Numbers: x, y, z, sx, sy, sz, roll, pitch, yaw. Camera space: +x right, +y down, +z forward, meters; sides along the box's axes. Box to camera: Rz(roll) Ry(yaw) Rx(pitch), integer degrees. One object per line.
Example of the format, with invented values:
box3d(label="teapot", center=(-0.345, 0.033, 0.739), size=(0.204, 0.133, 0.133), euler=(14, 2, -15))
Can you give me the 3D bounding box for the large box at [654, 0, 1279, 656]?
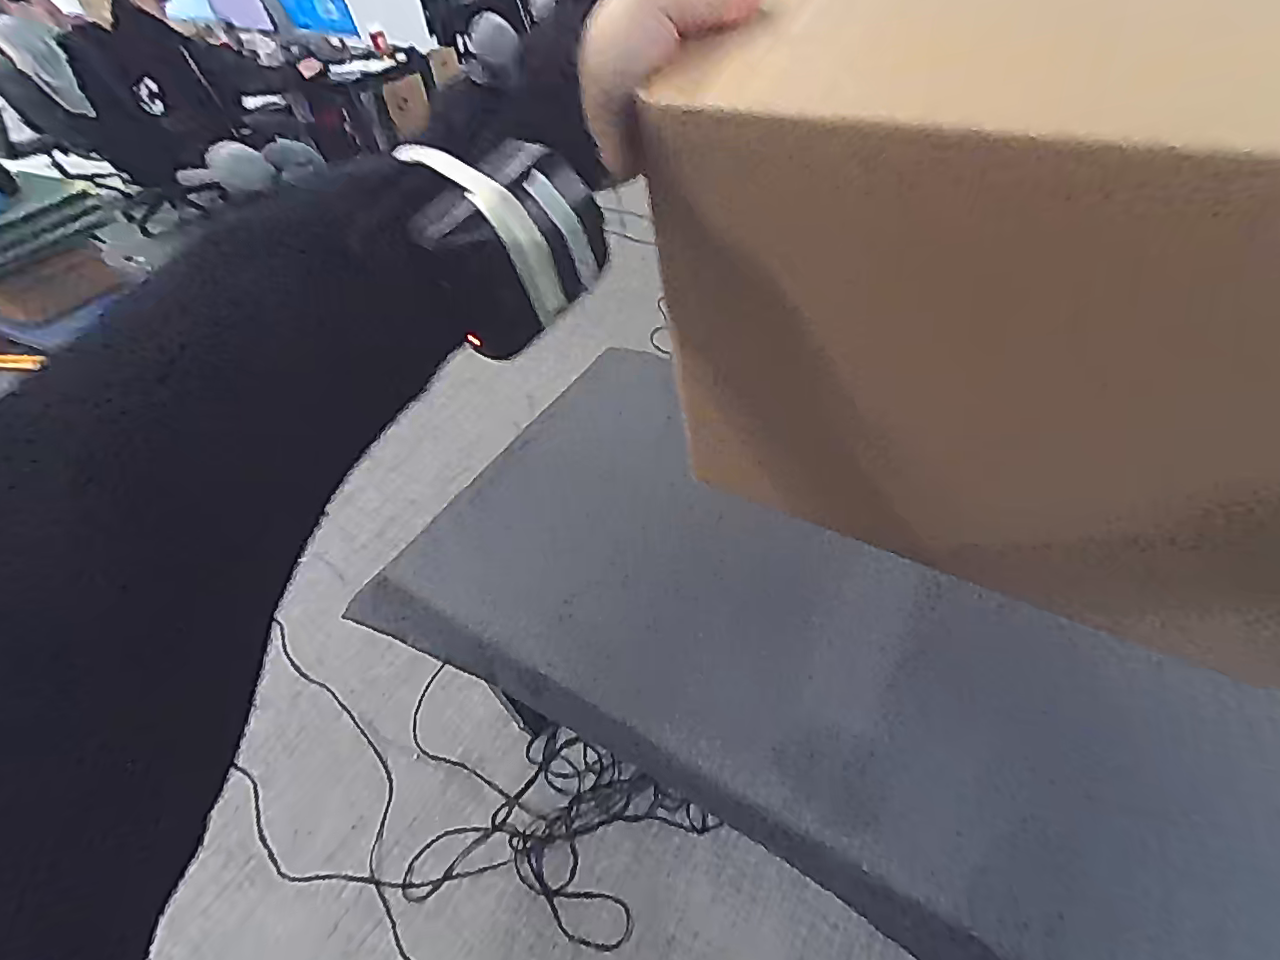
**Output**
box3d(label="large box", center=(0.263, -0.141, 0.349), size=(0.408, 0.320, 0.320), euler=(21, 66, 20))
